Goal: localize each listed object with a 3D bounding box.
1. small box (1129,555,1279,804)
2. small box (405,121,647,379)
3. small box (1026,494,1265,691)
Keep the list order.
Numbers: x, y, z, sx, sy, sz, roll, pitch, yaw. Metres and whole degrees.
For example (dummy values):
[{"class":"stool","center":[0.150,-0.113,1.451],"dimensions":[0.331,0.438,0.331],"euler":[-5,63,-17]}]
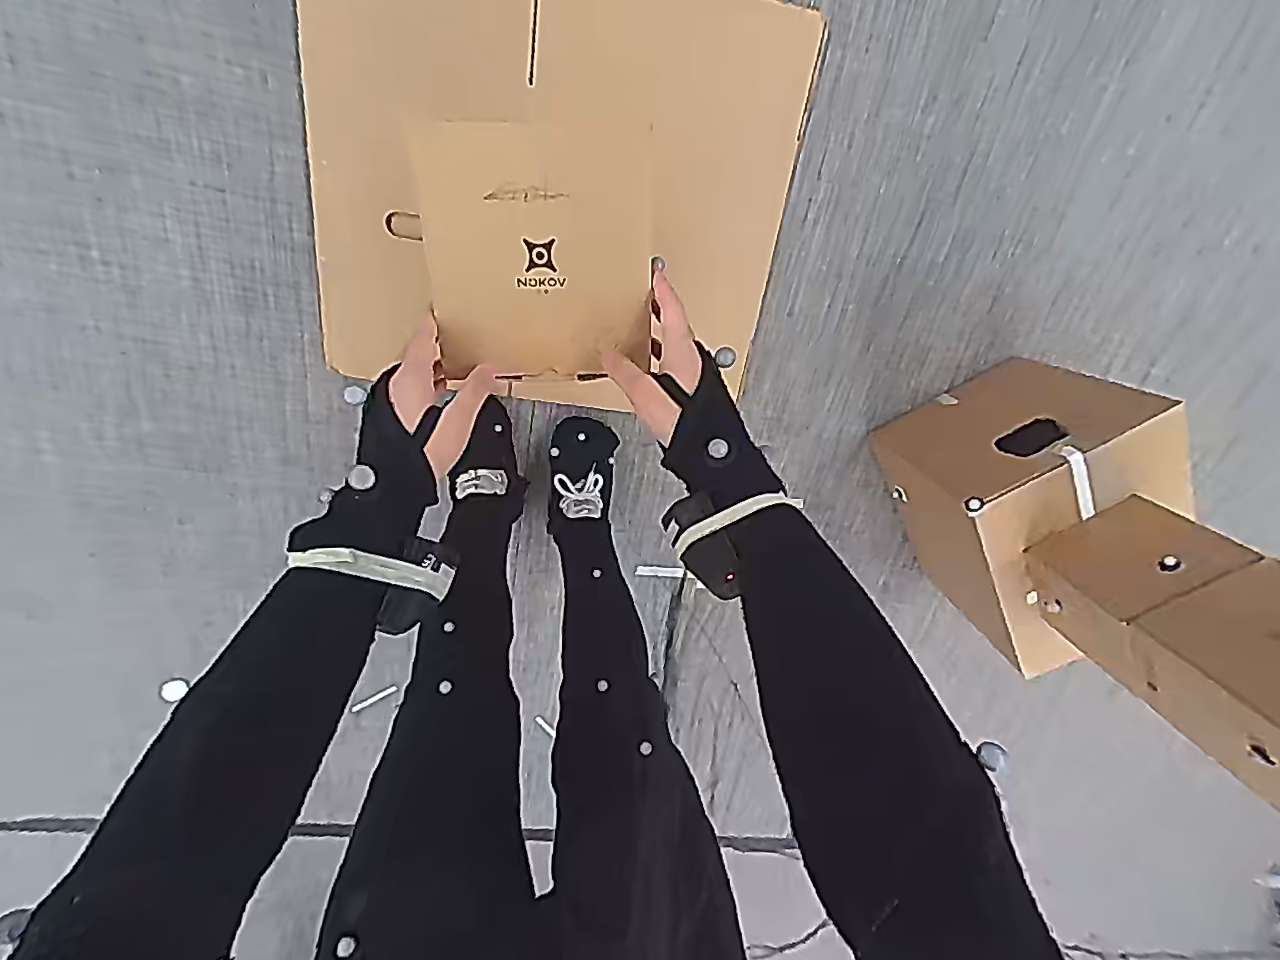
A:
[{"class":"small box","center":[0.713,0.215,0.606],"dimensions":[0.179,0.176,0.168],"euler":[-30,114,7]},{"class":"small box","center":[-0.082,-0.195,0.472],"dimensions":[0.168,0.176,0.179],"euler":[-3,113,-5]},{"class":"small box","center":[0.693,0.148,0.754],"dimensions":[0.179,0.176,0.168],"euler":[-30,115,8]}]
